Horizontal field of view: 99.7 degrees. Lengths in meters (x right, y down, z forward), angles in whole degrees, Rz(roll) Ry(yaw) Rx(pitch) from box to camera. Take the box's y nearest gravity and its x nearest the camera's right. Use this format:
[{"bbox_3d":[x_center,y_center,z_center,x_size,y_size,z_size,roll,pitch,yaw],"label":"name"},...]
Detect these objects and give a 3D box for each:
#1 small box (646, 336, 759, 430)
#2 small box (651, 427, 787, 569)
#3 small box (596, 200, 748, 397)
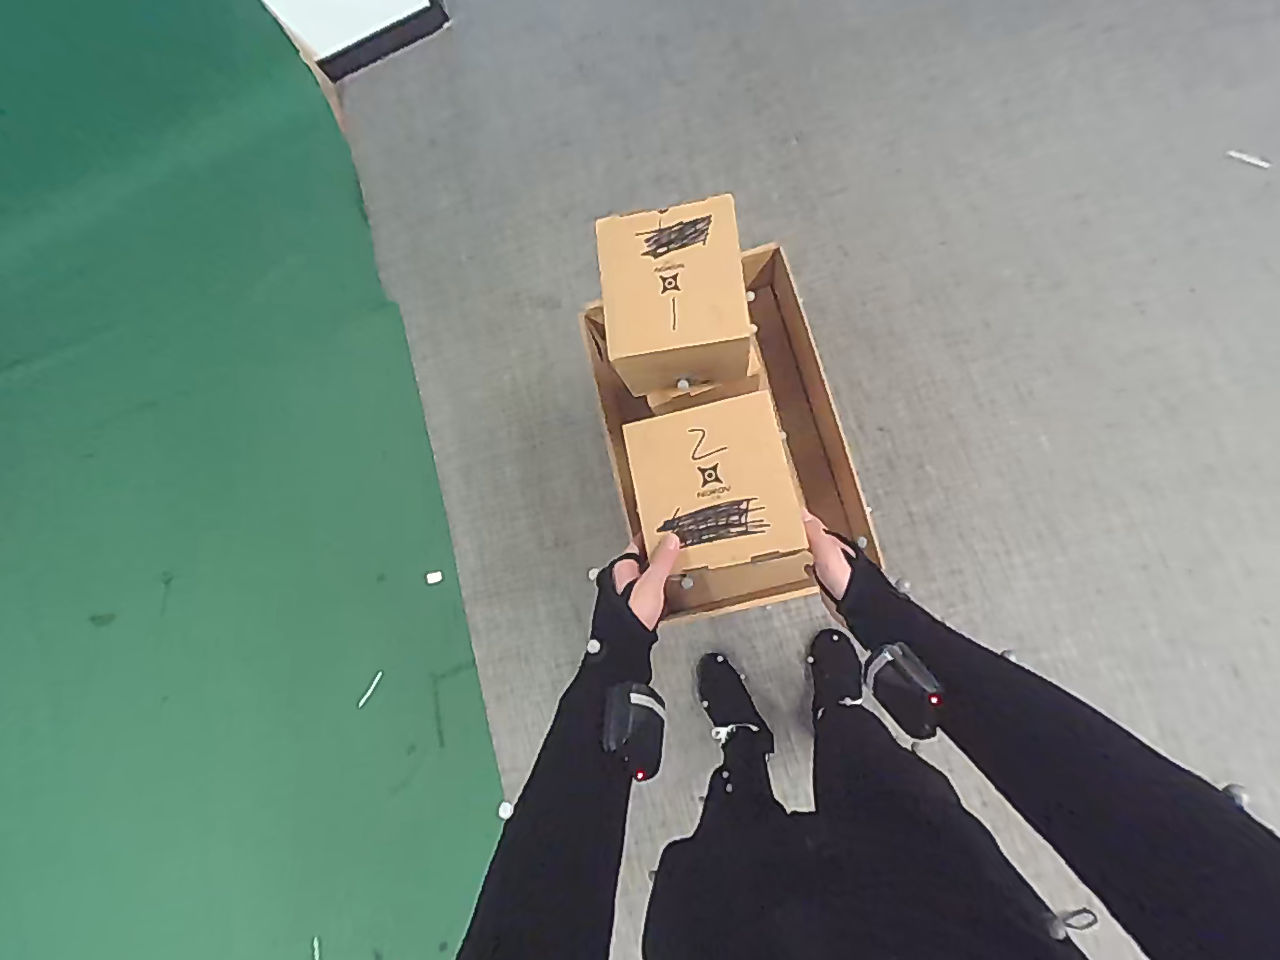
[{"bbox_3d":[0.083,-0.198,0.864,0.168,0.176,0.179,-17,80,8],"label":"small box"},{"bbox_3d":[0.121,0.037,0.814,0.168,0.176,0.179,-10,78,9],"label":"small box"},{"bbox_3d":[0.046,-0.223,0.705,0.168,0.176,0.179,-7,82,10],"label":"small box"}]
